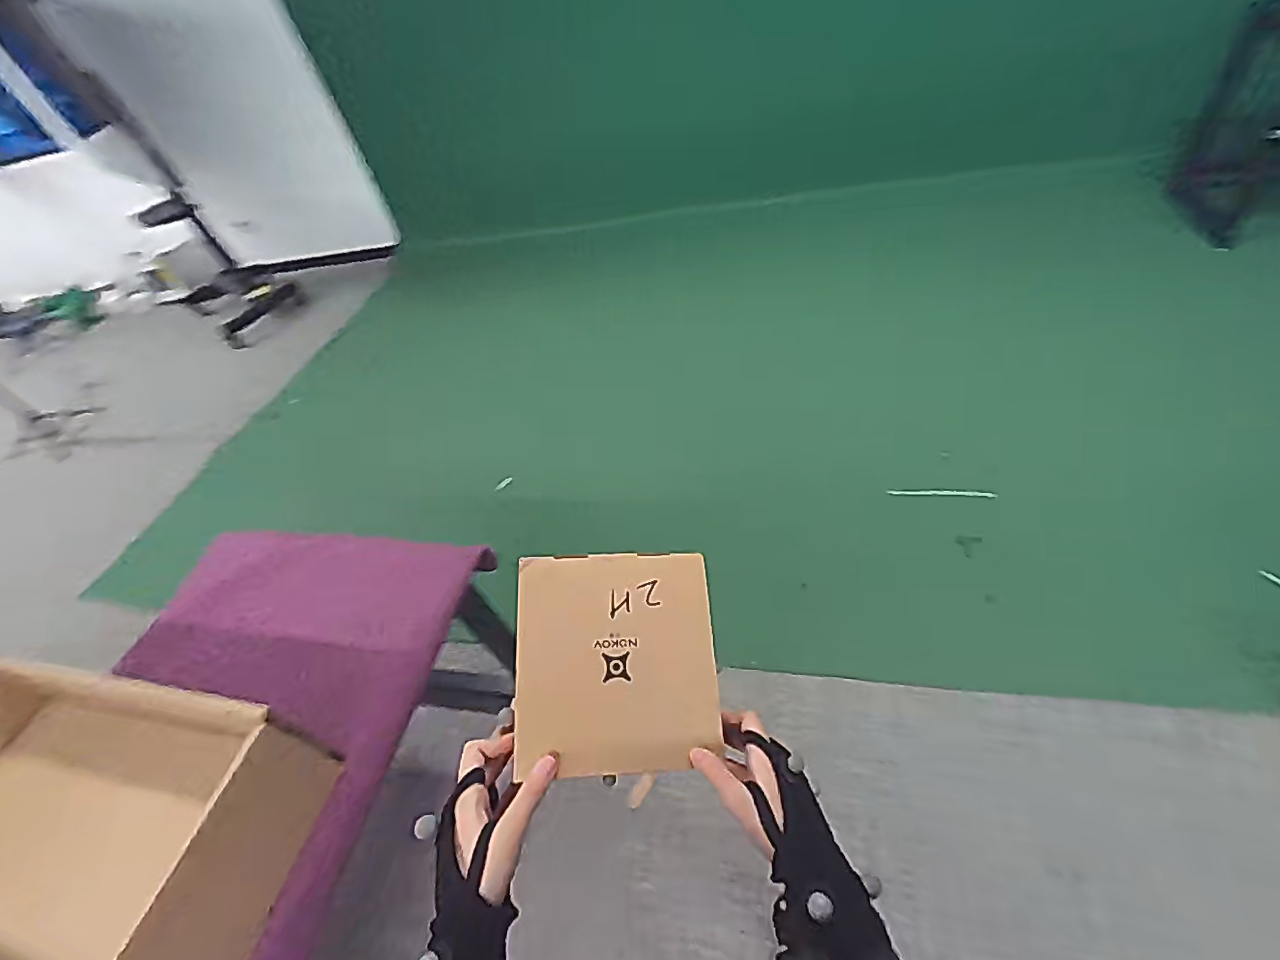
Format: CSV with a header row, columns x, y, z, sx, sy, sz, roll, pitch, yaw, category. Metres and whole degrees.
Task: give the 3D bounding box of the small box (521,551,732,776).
x,y,z,sx,sy,sz,roll,pitch,yaw,category
-0.017,0.175,0.519,0.168,0.176,0.179,1,65,-6,small box
